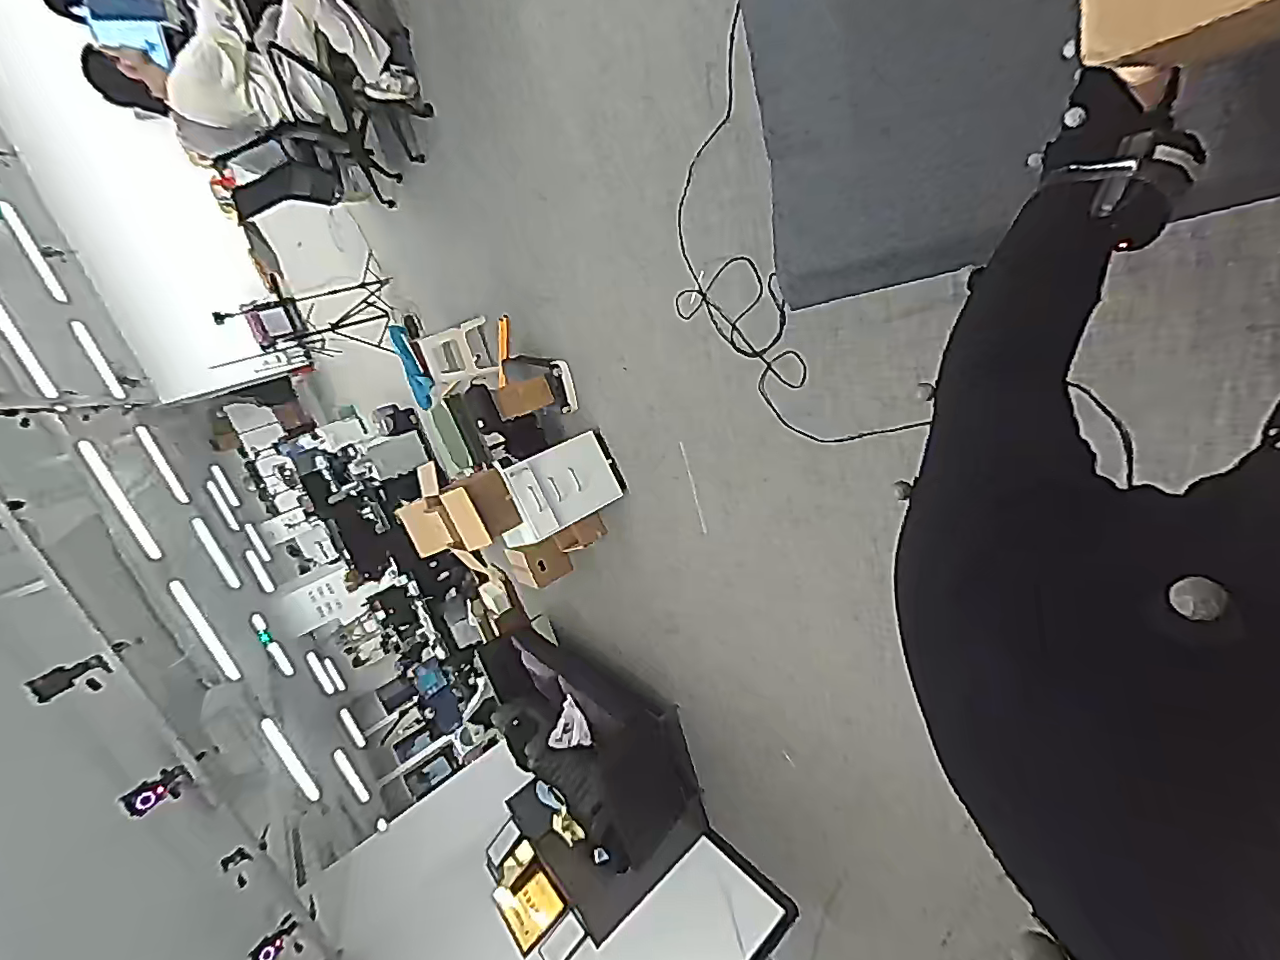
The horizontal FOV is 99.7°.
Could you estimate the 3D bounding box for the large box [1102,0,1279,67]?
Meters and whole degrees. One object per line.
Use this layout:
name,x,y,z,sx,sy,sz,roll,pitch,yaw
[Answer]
large box,0.434,-0.401,0.163,0.408,0.320,0.320,9,121,53
